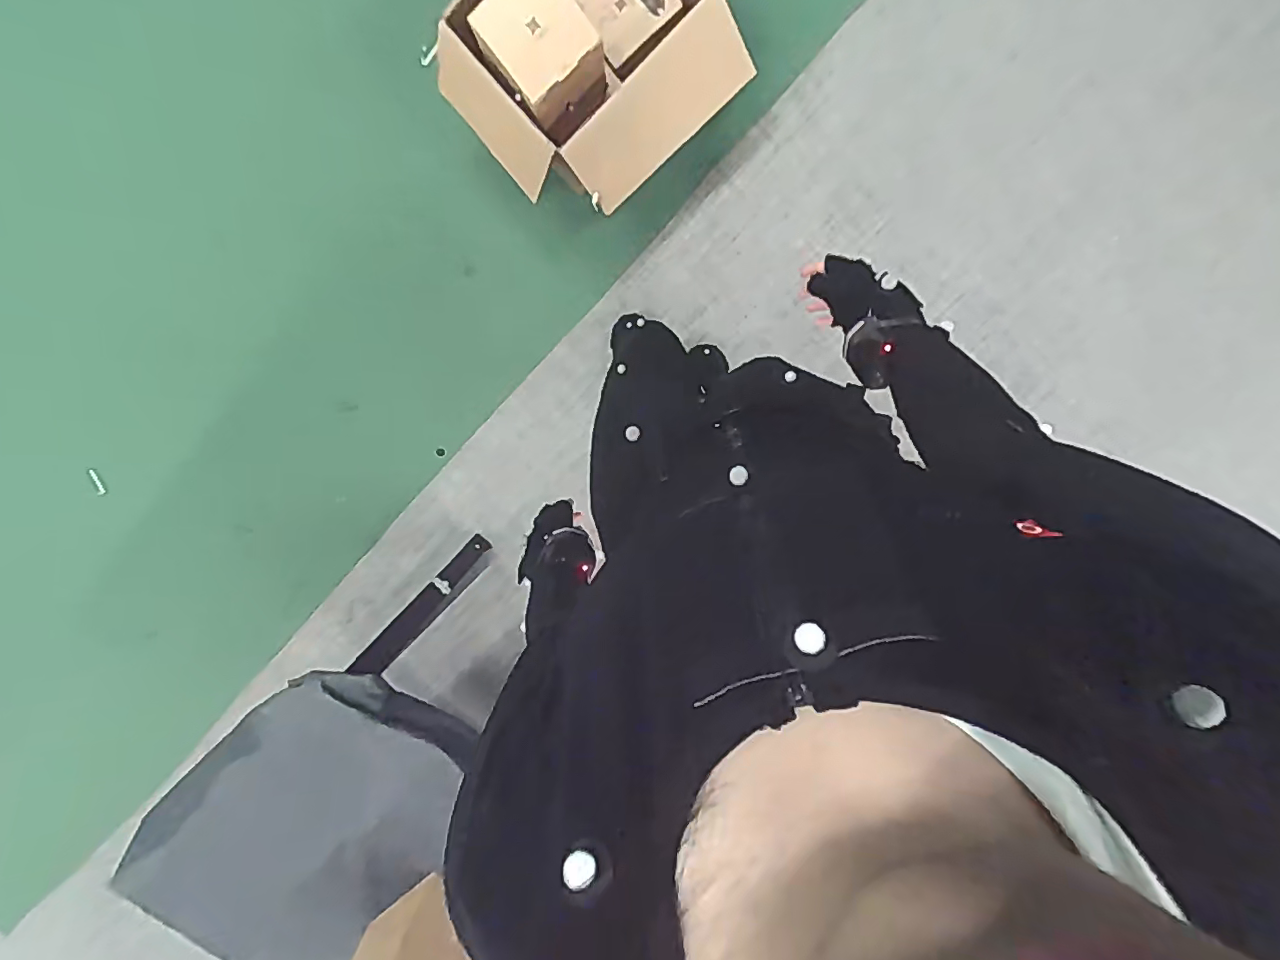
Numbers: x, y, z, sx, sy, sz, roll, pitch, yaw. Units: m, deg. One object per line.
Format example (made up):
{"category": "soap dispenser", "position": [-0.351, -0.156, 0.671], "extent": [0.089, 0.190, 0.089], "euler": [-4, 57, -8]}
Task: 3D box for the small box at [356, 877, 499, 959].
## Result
{"category": "small box", "position": [-0.352, 0.790, 0.853], "extent": [0.179, 0.176, 0.168], "euler": [-43, 99, 10]}
